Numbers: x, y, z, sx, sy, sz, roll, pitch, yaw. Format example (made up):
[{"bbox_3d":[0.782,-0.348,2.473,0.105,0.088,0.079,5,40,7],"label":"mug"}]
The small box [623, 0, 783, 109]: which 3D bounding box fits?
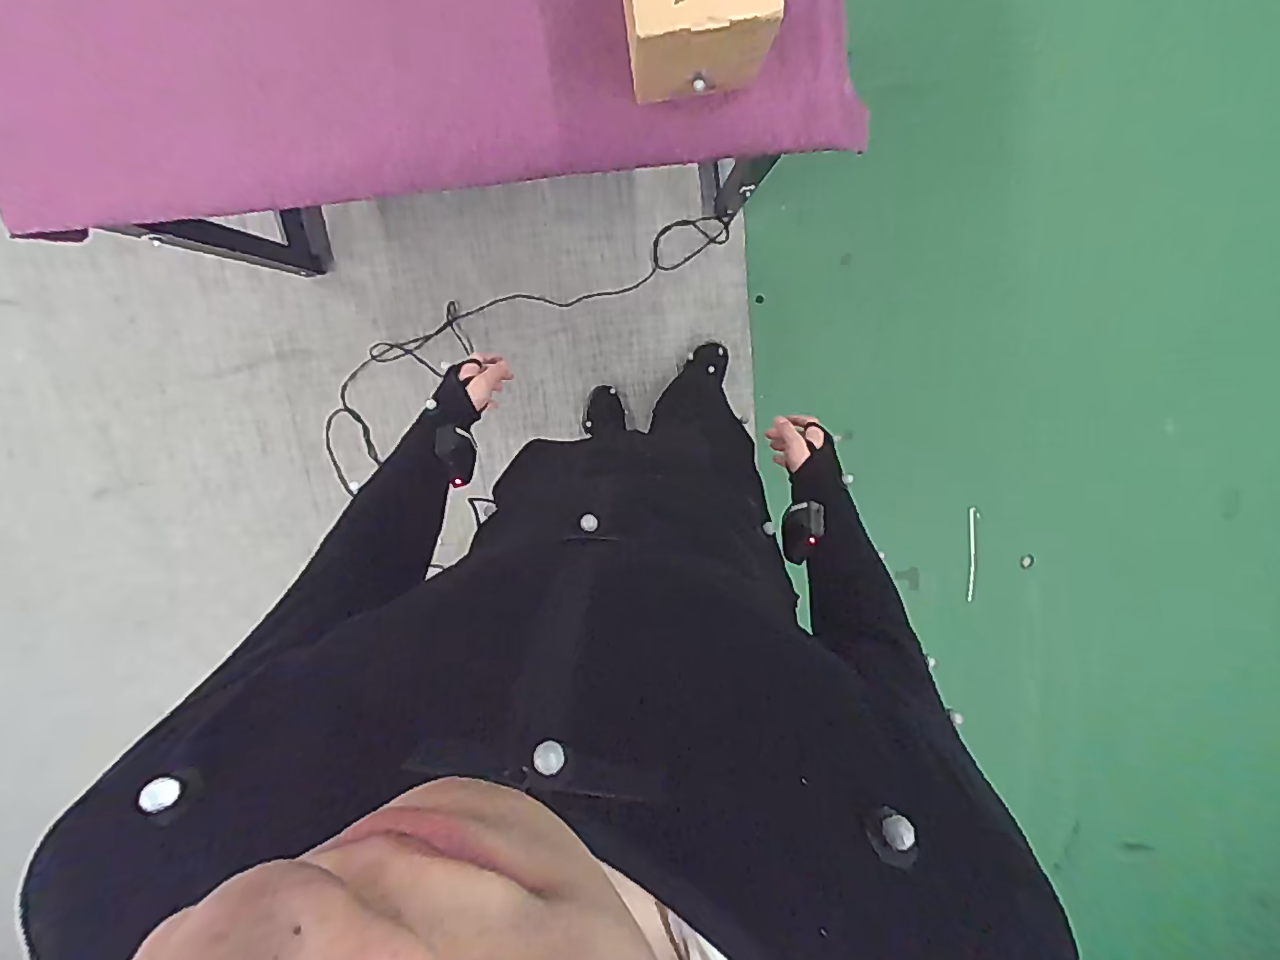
[{"bbox_3d":[0.065,-0.590,0.655,0.168,0.176,0.179,-7,104,1],"label":"small box"}]
